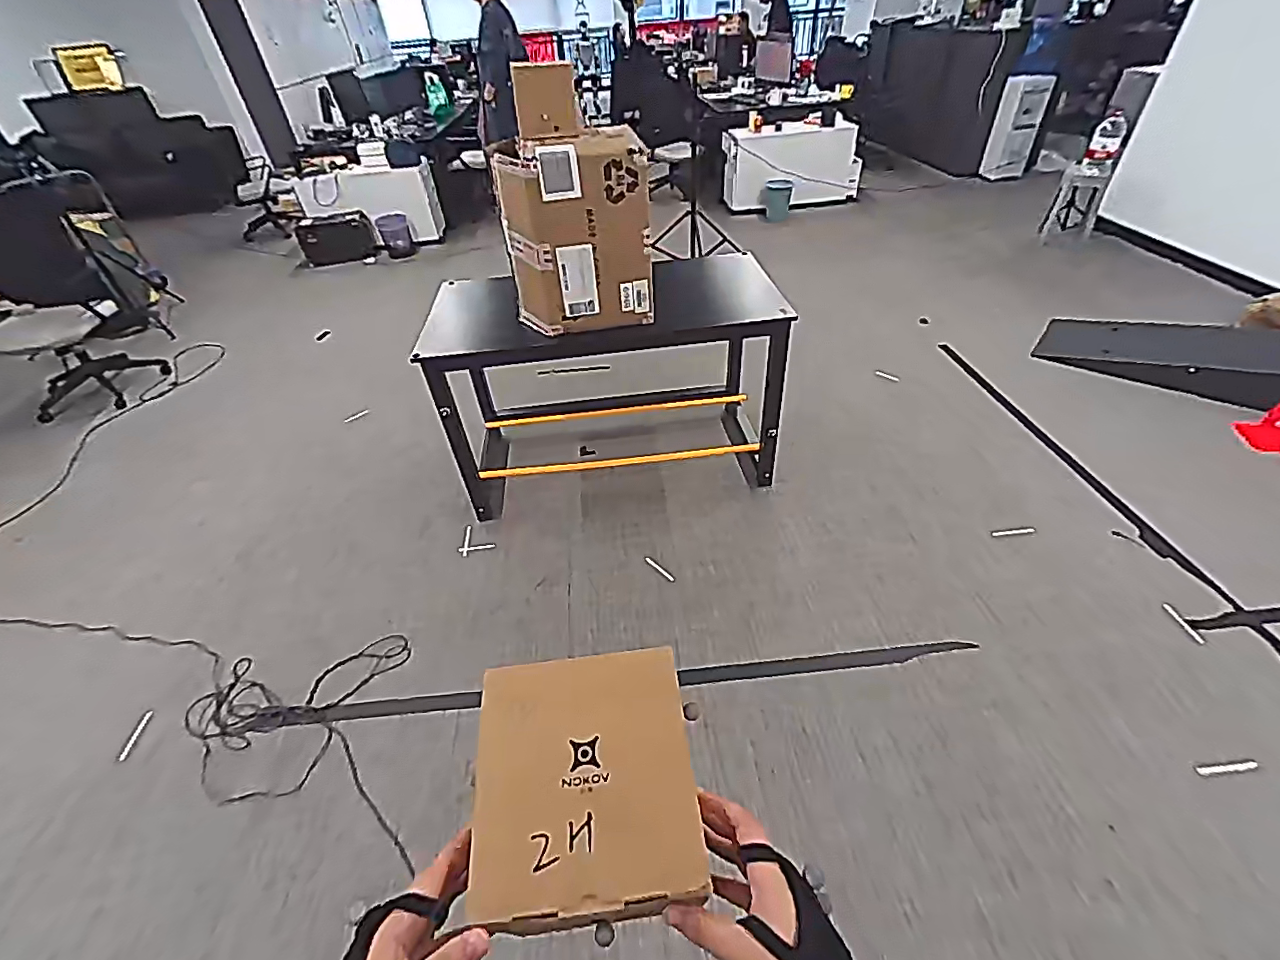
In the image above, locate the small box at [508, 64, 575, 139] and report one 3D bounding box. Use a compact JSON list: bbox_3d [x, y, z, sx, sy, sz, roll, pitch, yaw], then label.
[{"bbox_3d":[-0.282,-1.088,1.554,0.168,0.176,0.179,-9,40,-7],"label":"small box"}]
